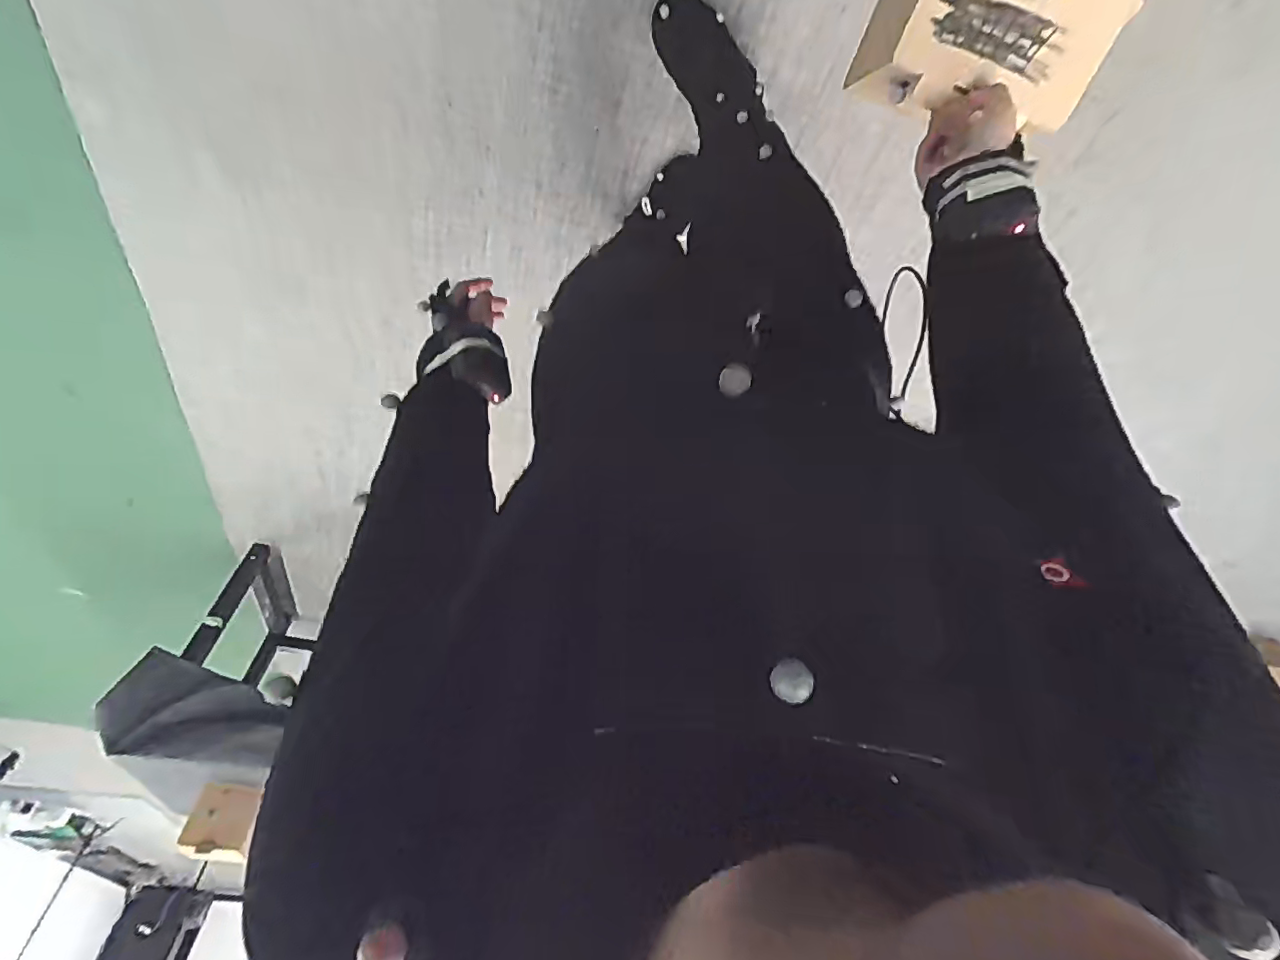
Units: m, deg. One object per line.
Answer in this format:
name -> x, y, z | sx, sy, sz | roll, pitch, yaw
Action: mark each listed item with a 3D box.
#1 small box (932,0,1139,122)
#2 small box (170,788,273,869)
small box -> 0.604, -0.716, 0.847 | 0.168, 0.176, 0.179 | 28, 129, -24
small box -> -1.225, 1.030, 1.598 | 0.168, 0.176, 0.179 | 13, 135, -10
